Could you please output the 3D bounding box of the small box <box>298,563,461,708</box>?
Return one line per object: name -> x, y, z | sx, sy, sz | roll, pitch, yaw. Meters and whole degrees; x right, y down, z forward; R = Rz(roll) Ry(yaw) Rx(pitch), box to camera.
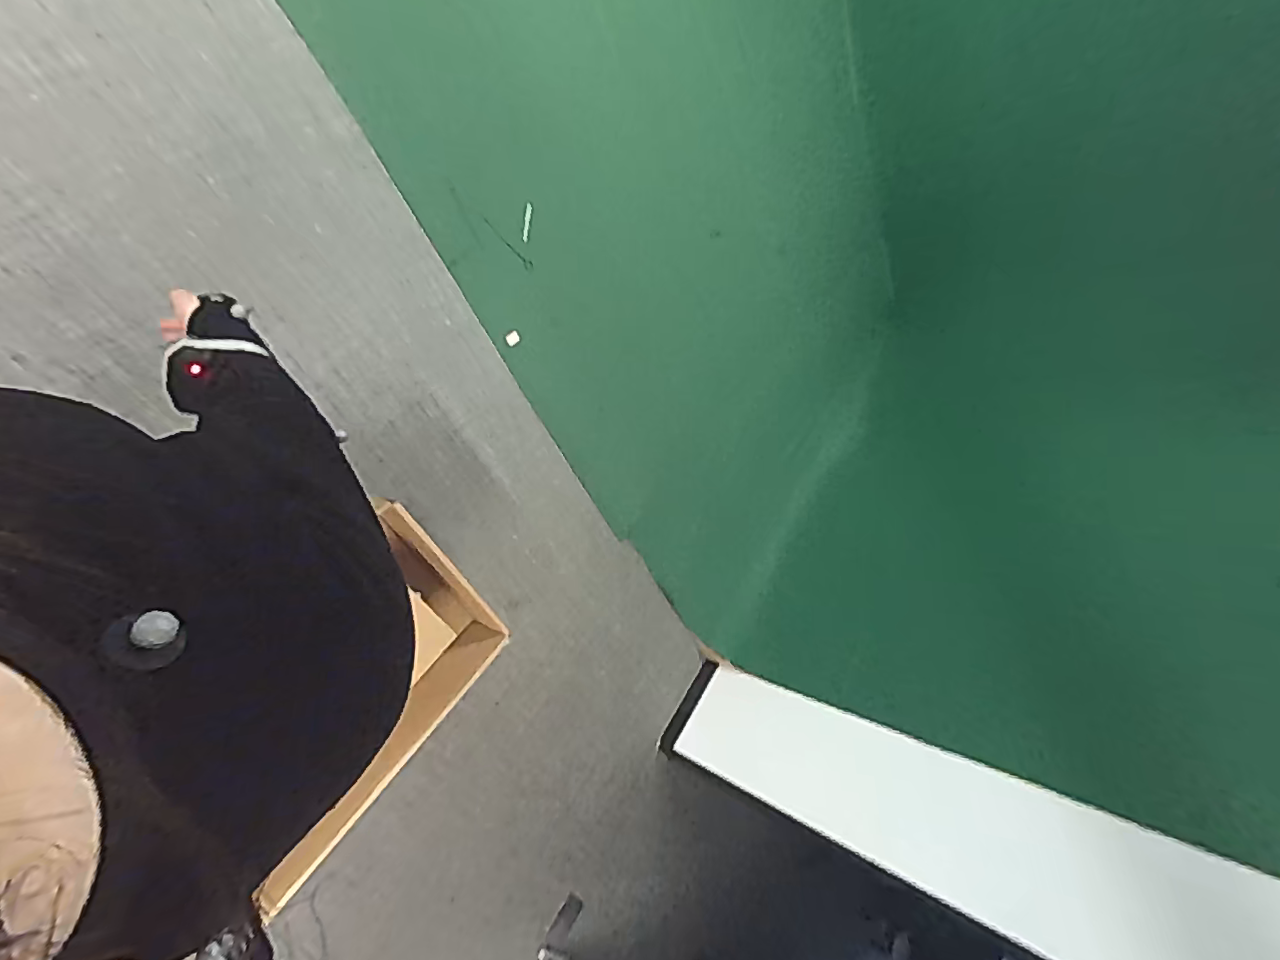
small box -> -0.467, 0.266, 0.967 | 0.168, 0.176, 0.179 | -50, 128, -29
